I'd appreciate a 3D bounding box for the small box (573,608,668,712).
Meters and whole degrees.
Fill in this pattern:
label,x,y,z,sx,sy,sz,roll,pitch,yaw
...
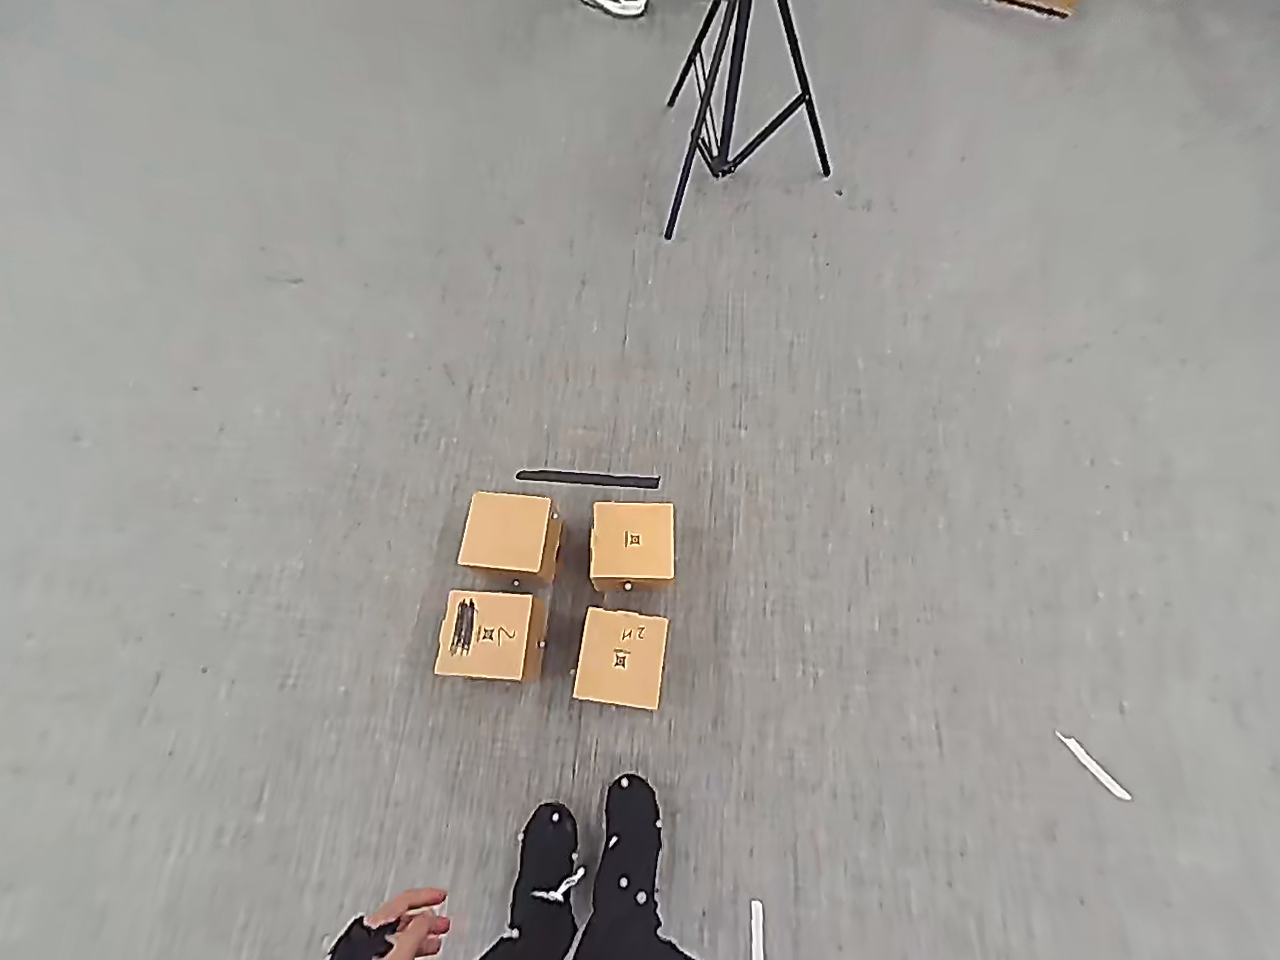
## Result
label,x,y,z,sx,sy,sz,roll,pitch,yaw
small box,-0.035,0.377,1.133,0.168,0.176,0.179,8,69,3

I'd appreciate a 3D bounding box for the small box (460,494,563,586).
label,x,y,z,sx,sy,sz,roll,pitch,yaw
small box,-0.284,0.139,1.228,0.179,0.176,0.168,5,68,2
